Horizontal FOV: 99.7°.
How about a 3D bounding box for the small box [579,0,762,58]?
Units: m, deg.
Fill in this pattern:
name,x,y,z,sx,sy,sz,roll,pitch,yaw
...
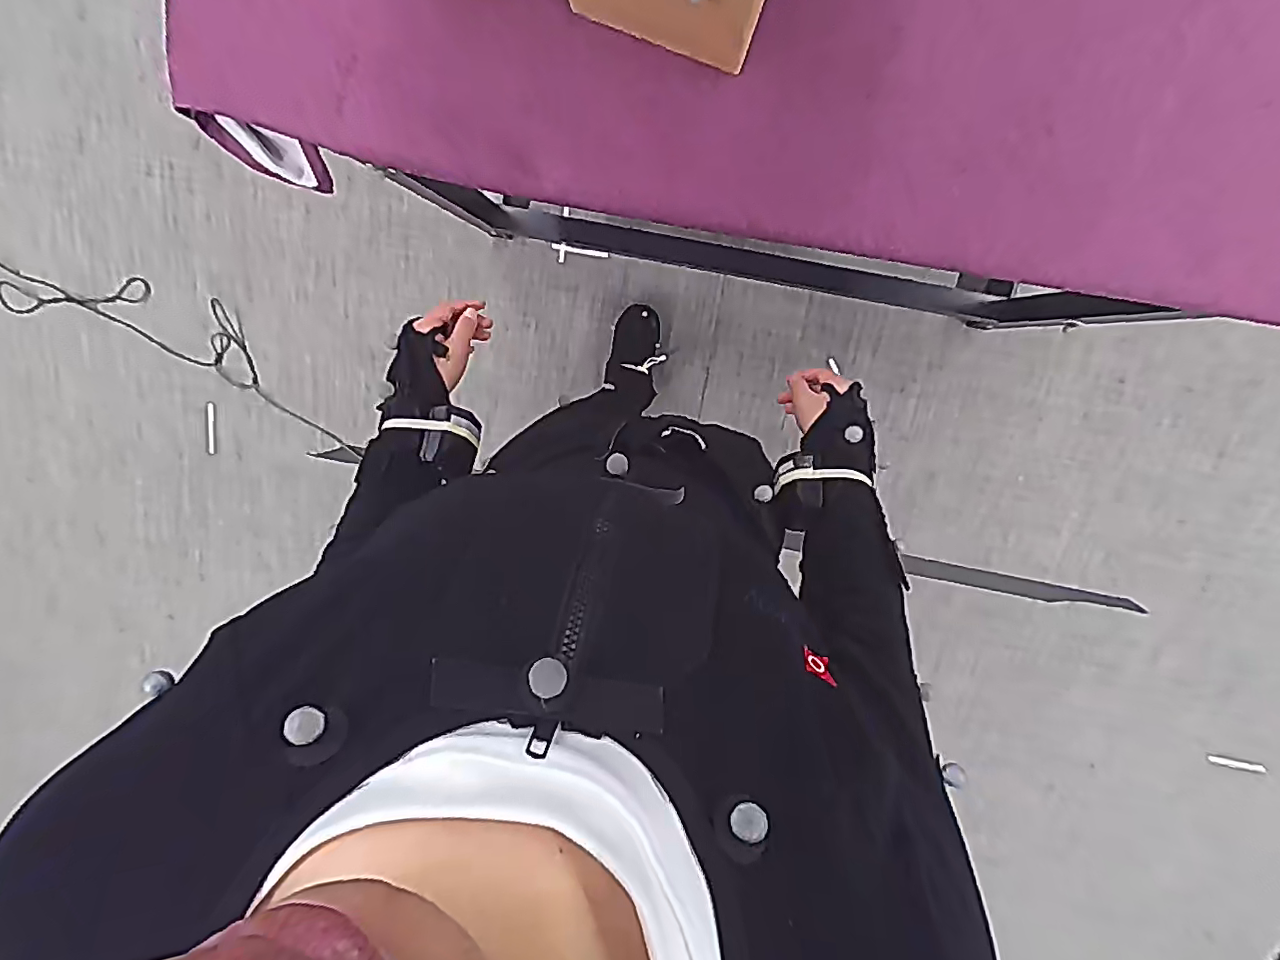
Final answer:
name,x,y,z,sx,sy,sz,roll,pitch,yaw
small box,0.039,-0.485,0.430,0.179,0.176,0.168,20,104,-1
